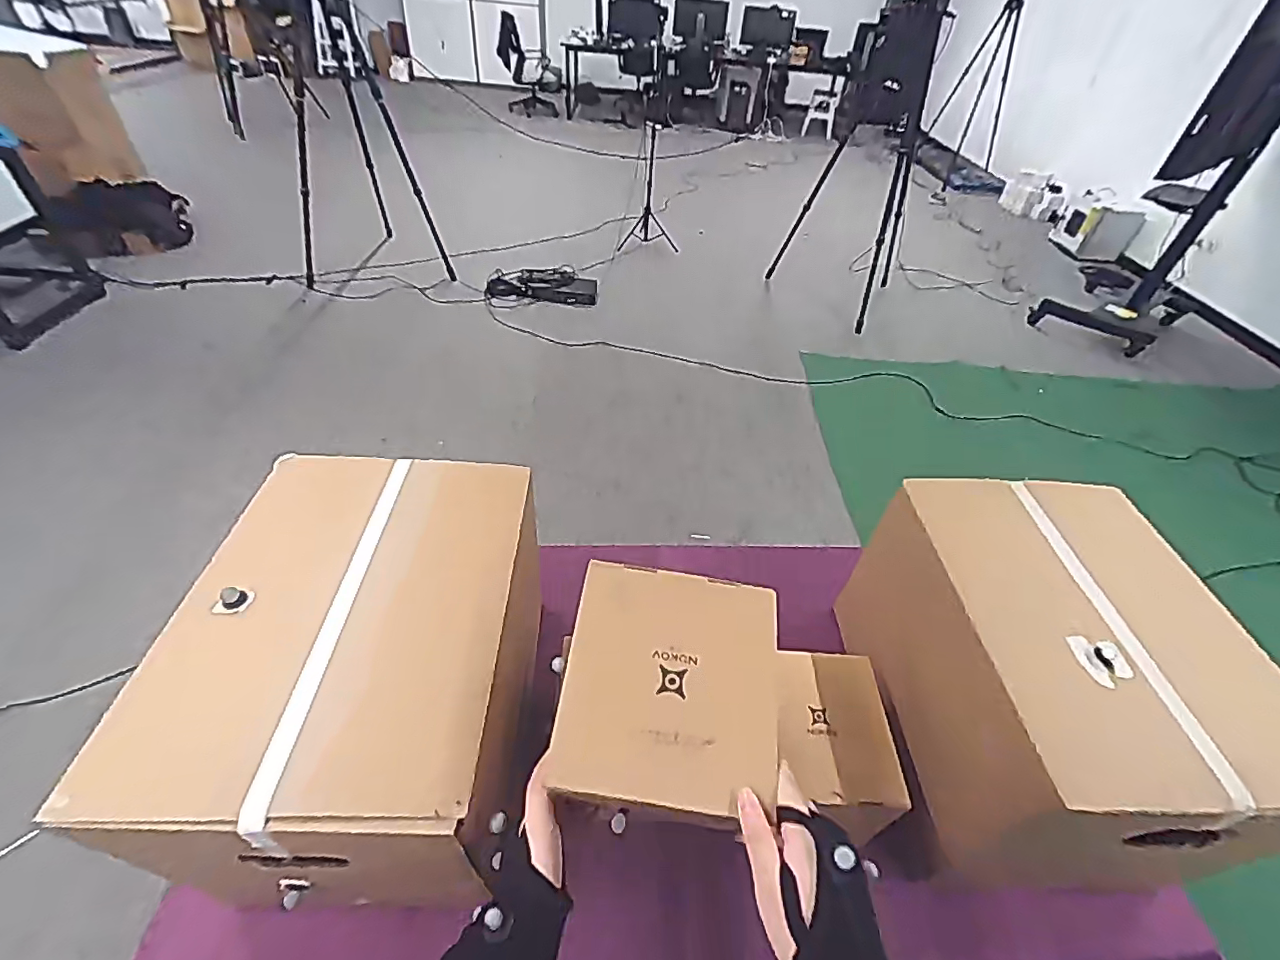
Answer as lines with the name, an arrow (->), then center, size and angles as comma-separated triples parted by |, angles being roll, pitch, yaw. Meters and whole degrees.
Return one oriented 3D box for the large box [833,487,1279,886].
large box -> 0.500, 0.262, 0.717 | 0.320, 0.320, 0.408 | 3, 44, -3
